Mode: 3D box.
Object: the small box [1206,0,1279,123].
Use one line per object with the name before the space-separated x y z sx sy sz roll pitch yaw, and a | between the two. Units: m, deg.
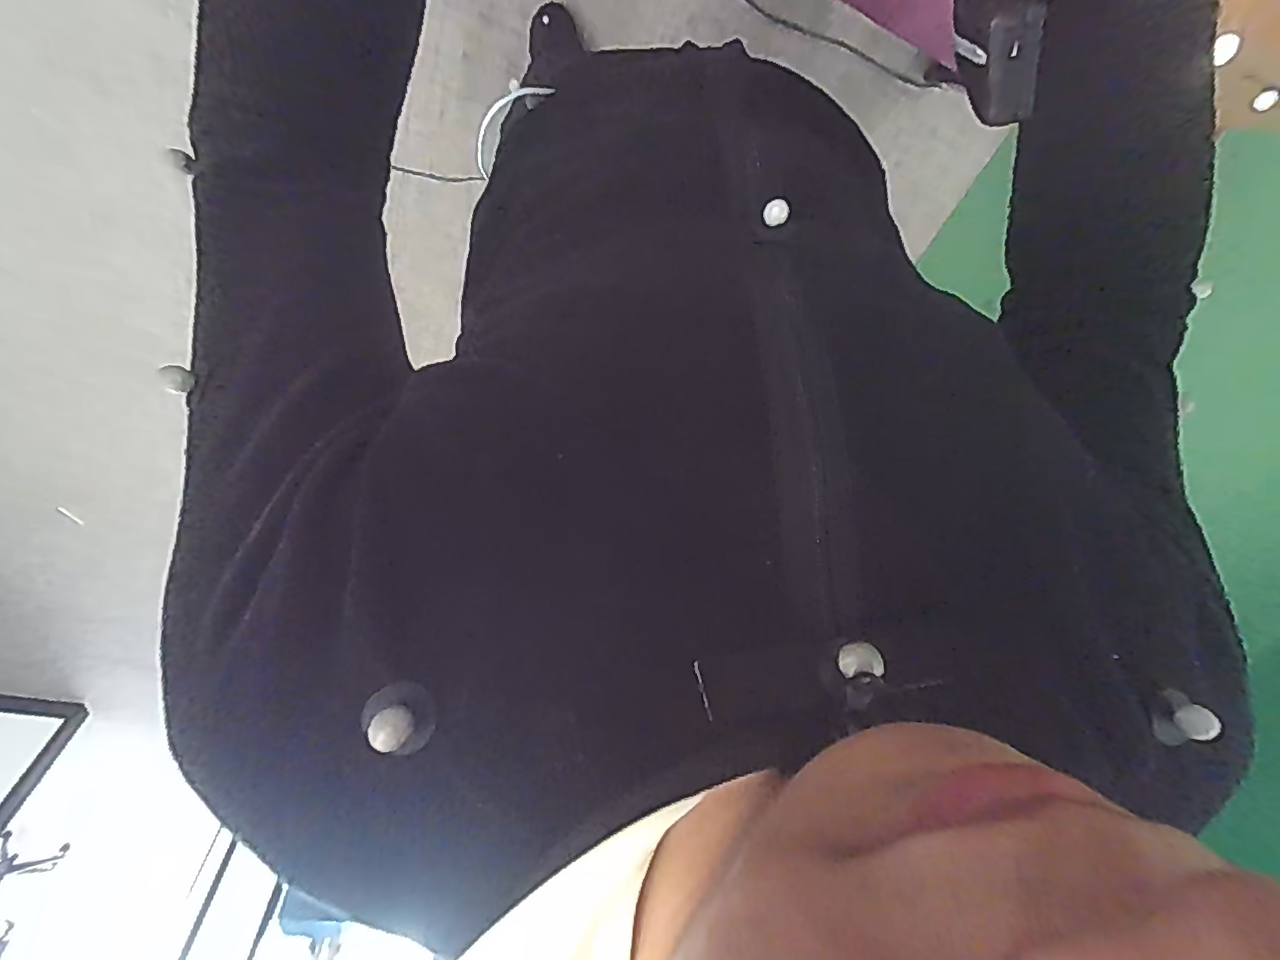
small box | 0.616 -0.384 0.405 0.168 0.176 0.179 19 126 -16
